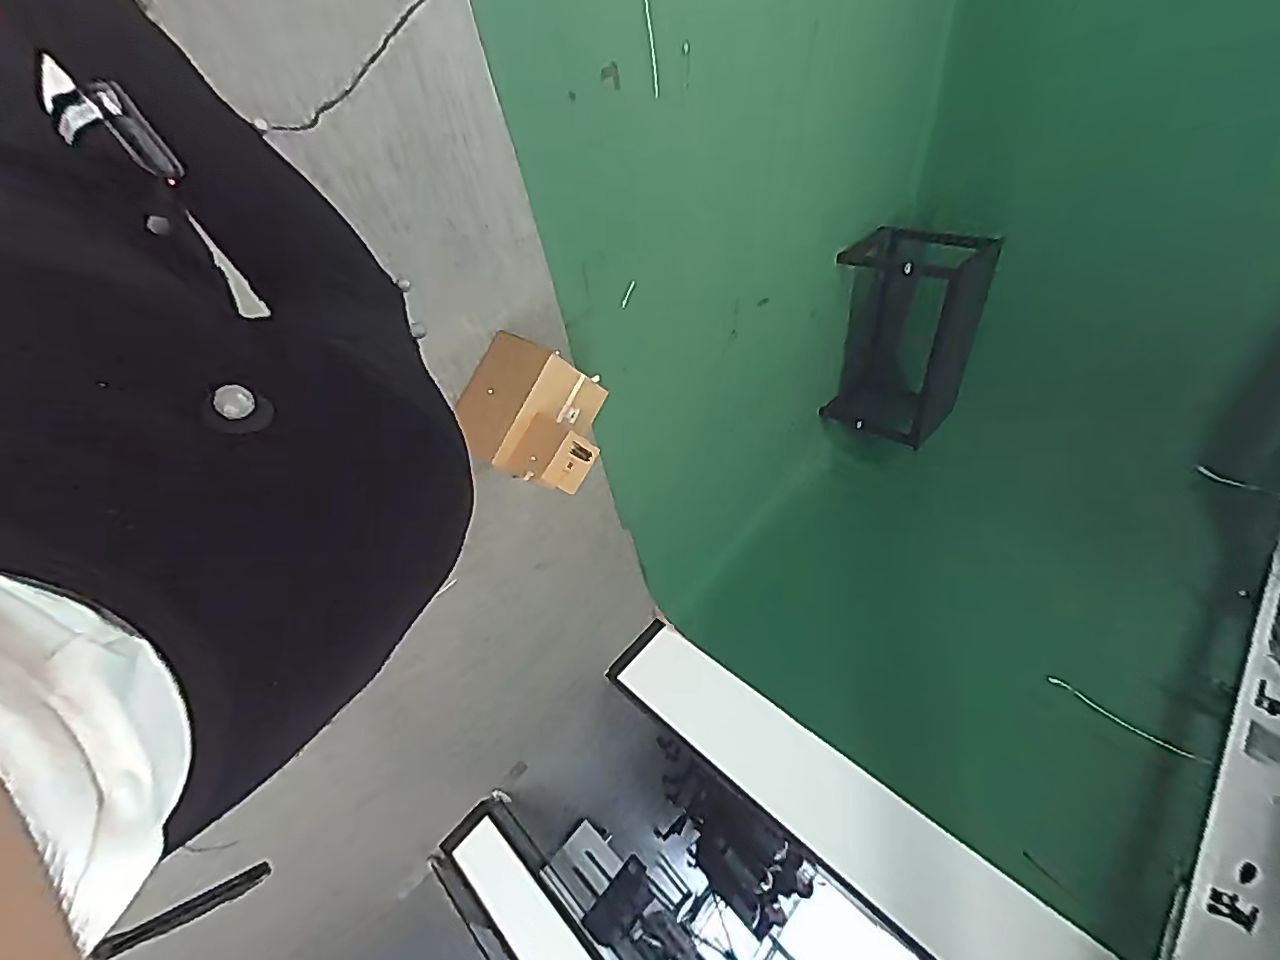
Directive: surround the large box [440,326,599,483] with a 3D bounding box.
[{"bbox_3d":[-0.419,-0.257,1.881,0.320,0.320,0.408,28,90,-56],"label":"large box"}]
